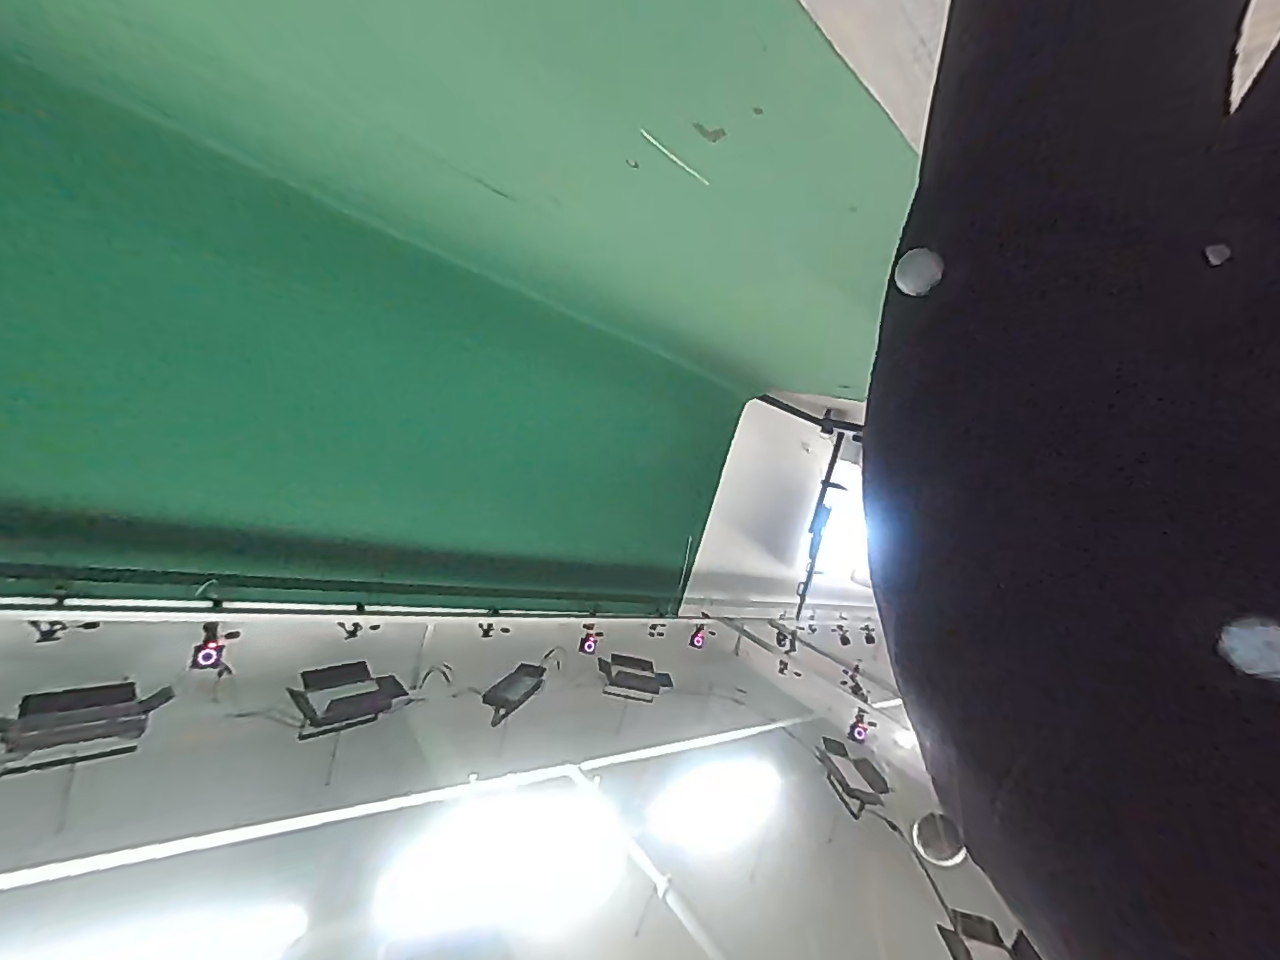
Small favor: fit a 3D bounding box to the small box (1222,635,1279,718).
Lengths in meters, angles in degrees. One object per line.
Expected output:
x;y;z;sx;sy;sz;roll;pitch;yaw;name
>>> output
1.620;0.504;1.352;0.168;0.176;0.179;16;-176;-35;small box
